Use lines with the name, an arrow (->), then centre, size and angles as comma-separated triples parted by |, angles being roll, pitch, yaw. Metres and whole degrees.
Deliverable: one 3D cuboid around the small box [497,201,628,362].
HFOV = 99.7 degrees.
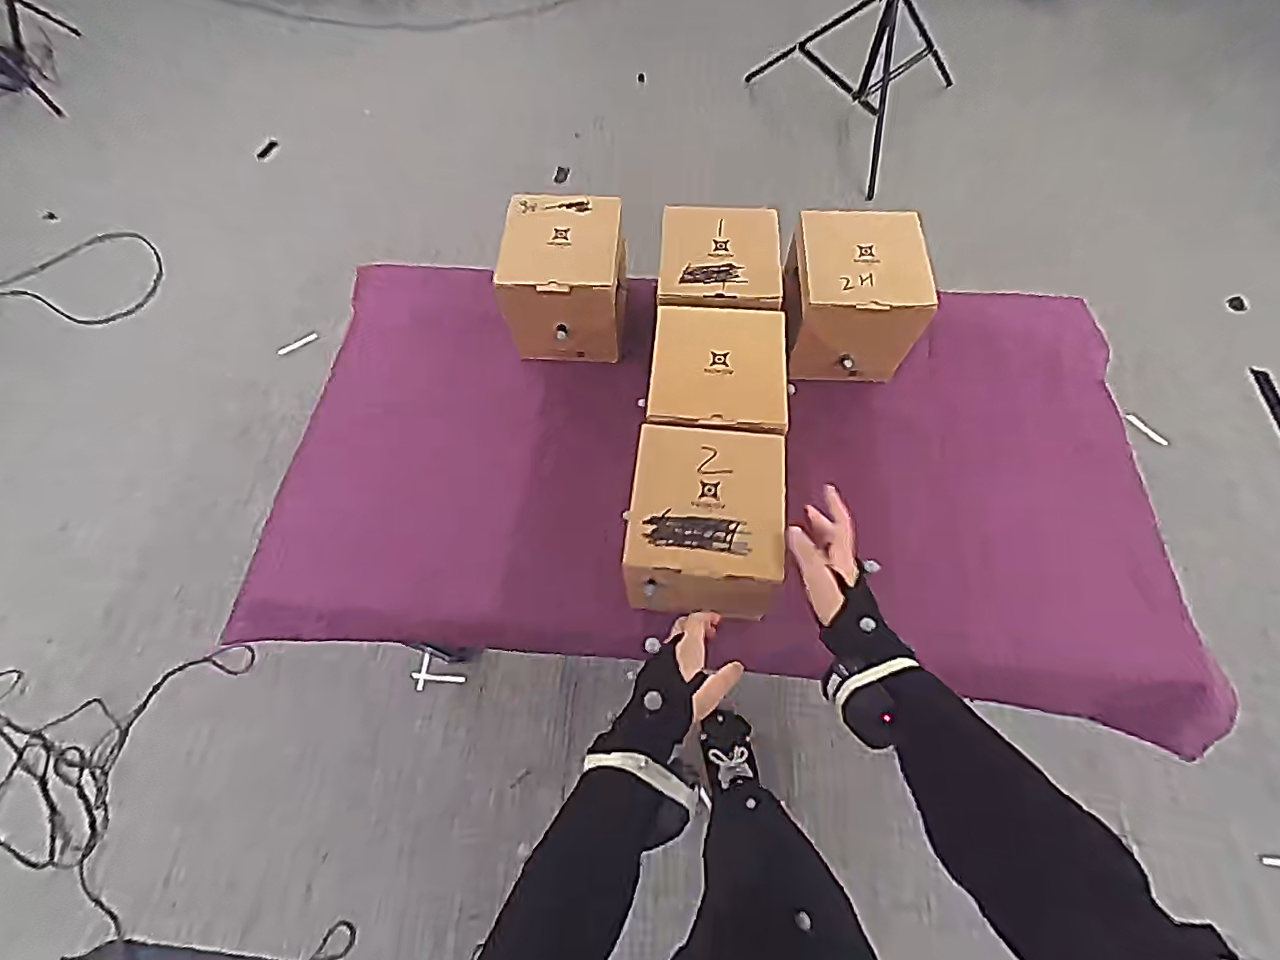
small box -> -0.107, -0.299, 0.837 | 0.168, 0.176, 0.179 | 2, 67, 2
